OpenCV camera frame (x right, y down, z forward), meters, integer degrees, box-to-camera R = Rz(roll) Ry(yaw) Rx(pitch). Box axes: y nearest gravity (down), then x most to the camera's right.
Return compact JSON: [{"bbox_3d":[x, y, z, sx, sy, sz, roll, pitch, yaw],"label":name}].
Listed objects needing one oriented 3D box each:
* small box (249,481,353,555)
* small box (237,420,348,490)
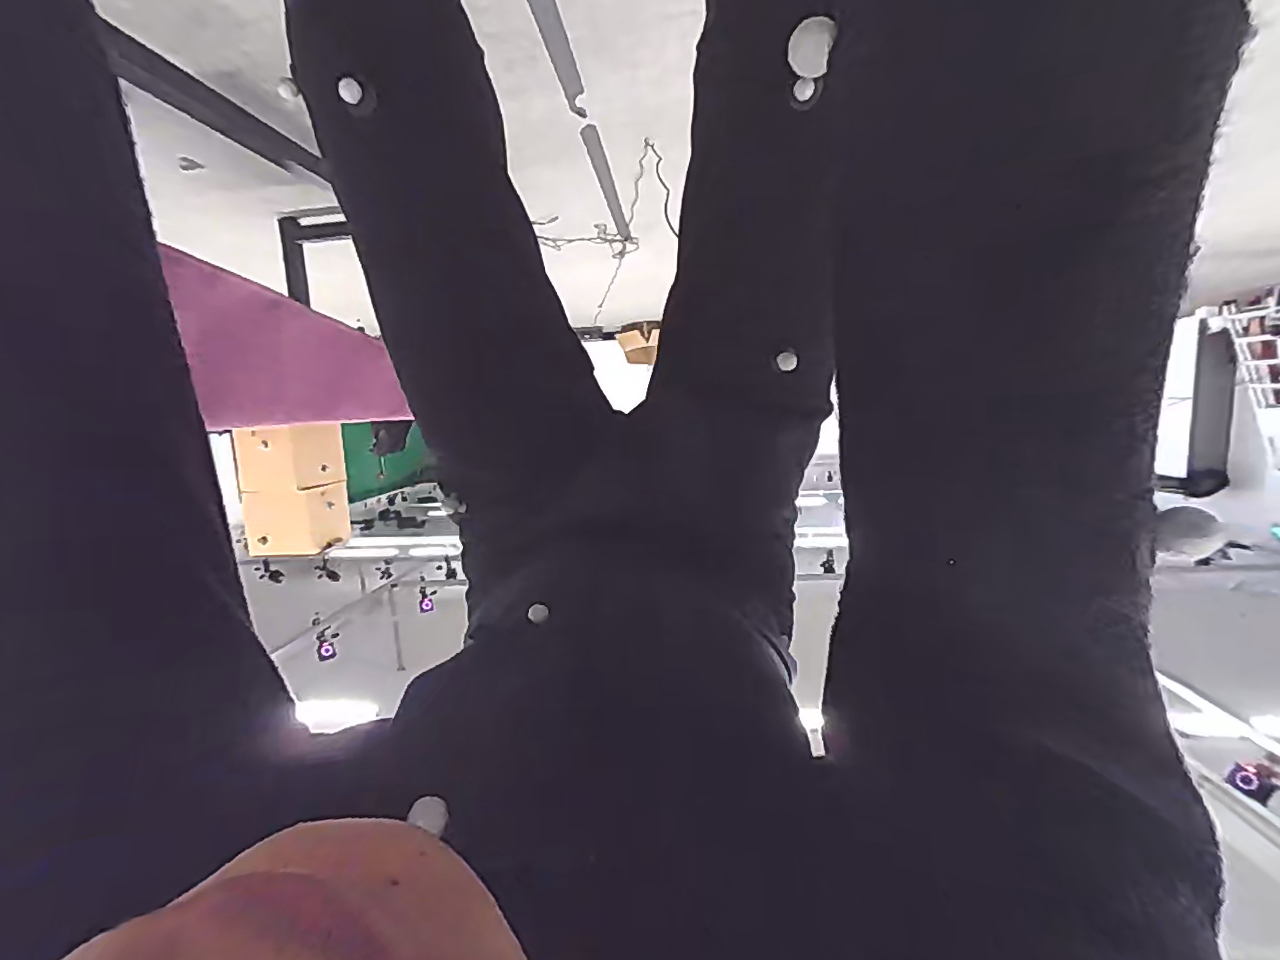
[{"bbox_3d":[-0.892,0.093,1.428,0.179,0.176,0.168,-2,-172,5],"label":"small box"},{"bbox_3d":[-0.896,-0.070,1.404,0.168,0.176,0.179,-2,-173,11],"label":"small box"}]
